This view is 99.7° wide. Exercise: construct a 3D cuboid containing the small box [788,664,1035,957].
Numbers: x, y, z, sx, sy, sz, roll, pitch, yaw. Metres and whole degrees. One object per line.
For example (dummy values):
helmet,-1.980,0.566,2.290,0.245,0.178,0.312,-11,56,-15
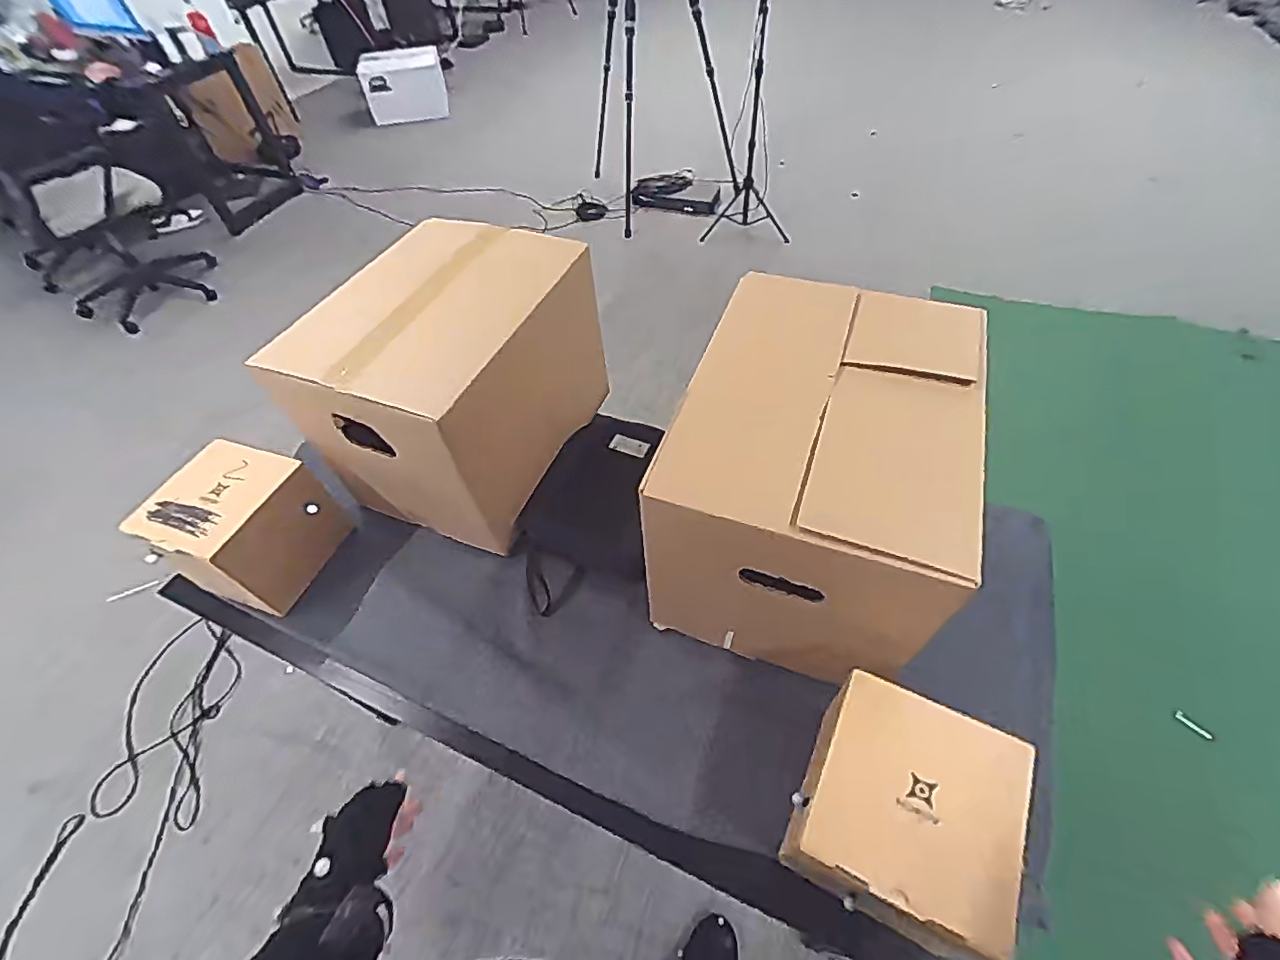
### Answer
small box,0.261,0.324,0.549,0.168,0.176,0.179,21,59,21
